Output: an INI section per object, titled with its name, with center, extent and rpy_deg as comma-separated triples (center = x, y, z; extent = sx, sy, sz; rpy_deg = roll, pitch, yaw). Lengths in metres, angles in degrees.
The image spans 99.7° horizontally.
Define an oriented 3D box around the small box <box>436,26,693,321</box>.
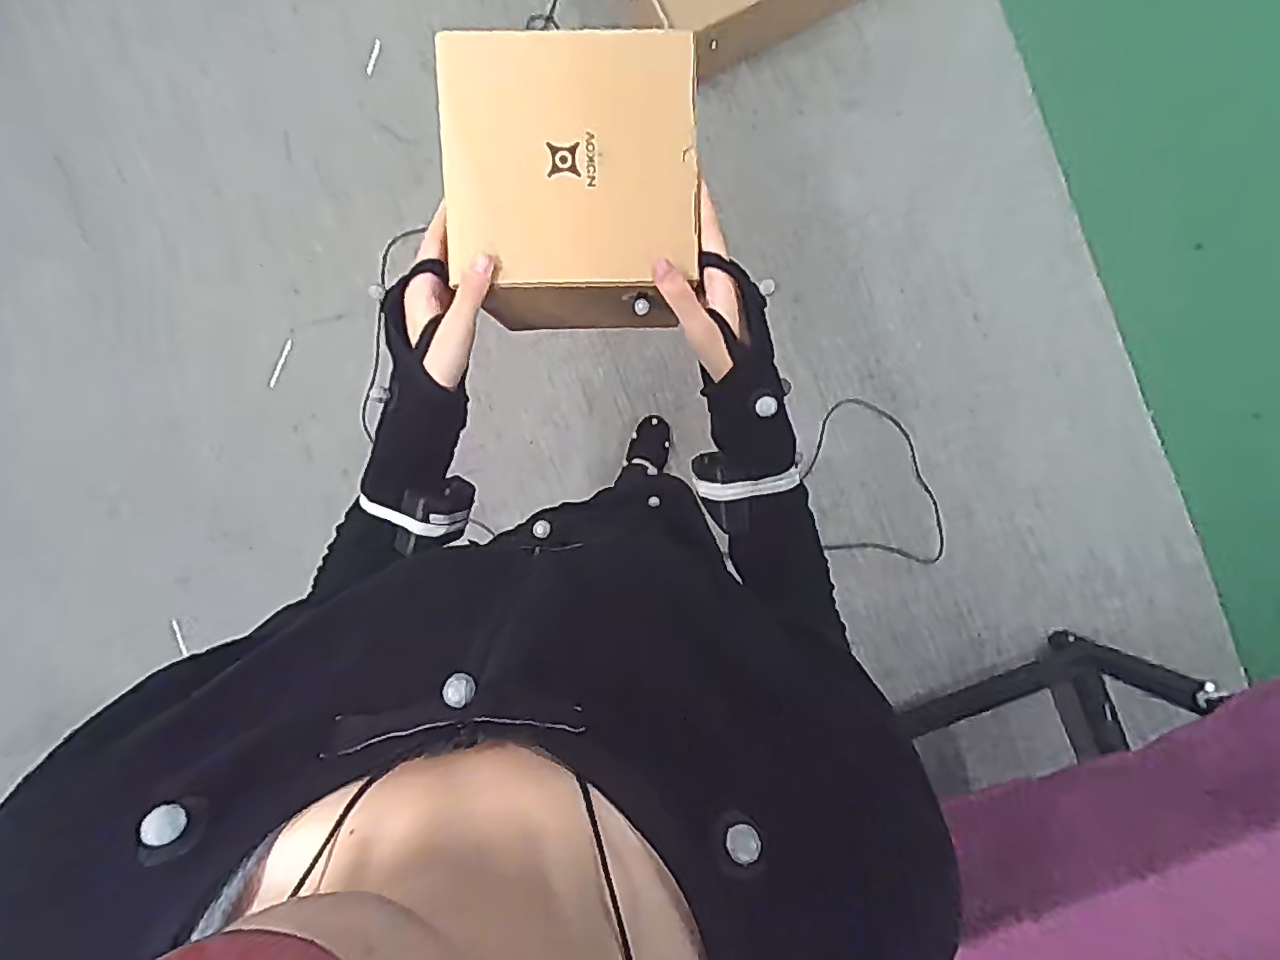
[small box]
center = -0.052, -0.231, 0.452
extent = 0.179, 0.176, 0.168
rpy_deg = -1, 96, -2
